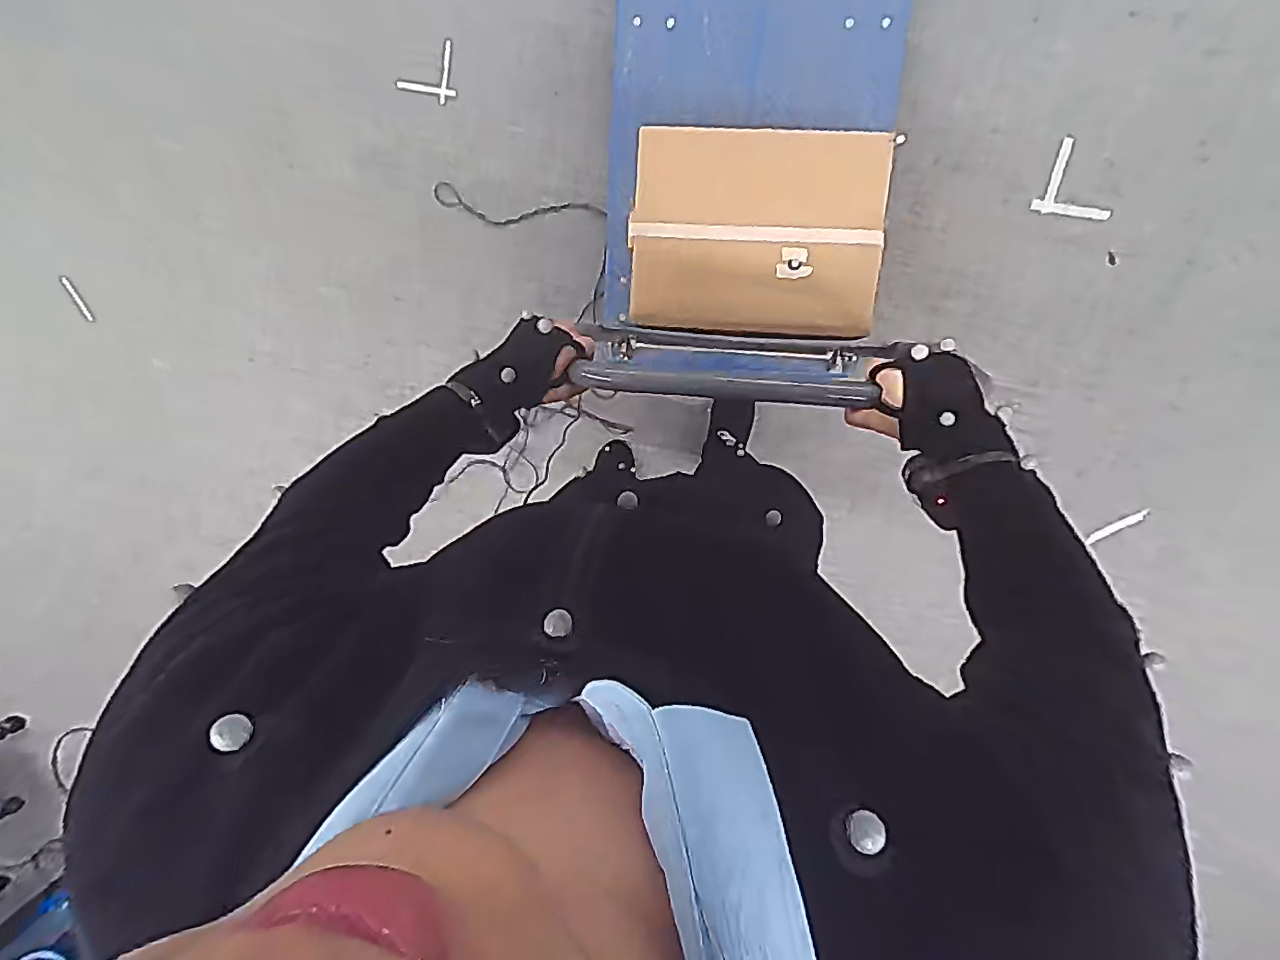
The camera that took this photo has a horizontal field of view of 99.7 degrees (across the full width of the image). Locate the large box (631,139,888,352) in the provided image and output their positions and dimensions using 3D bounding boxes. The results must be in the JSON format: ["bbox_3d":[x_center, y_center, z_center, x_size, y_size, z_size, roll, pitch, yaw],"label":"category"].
[{"bbox_3d":[0.197,-0.417,1.037,0.408,0.320,0.320,4,102,4],"label":"large box"}]
